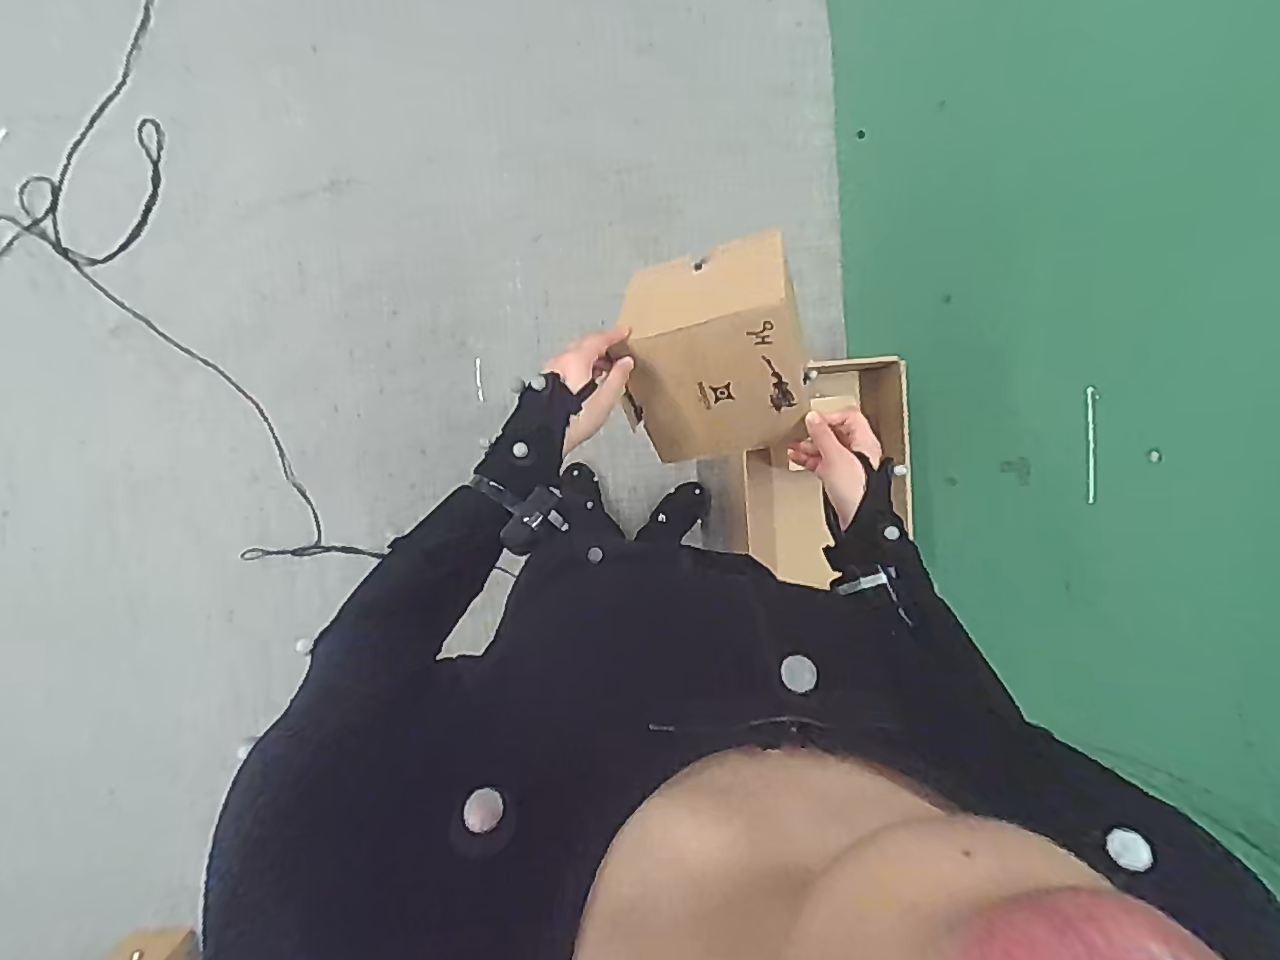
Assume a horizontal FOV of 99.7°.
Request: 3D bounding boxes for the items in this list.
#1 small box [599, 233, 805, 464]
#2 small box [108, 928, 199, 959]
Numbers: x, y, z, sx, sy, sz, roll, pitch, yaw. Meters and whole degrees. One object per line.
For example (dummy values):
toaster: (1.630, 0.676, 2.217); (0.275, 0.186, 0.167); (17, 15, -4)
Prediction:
small box: (0.081, -0.142, 0.597); (0.179, 0.176, 0.168); (-8, 133, 22)
small box: (-1.373, 1.387, 1.493); (0.179, 0.176, 0.168); (-4, 94, 0)
